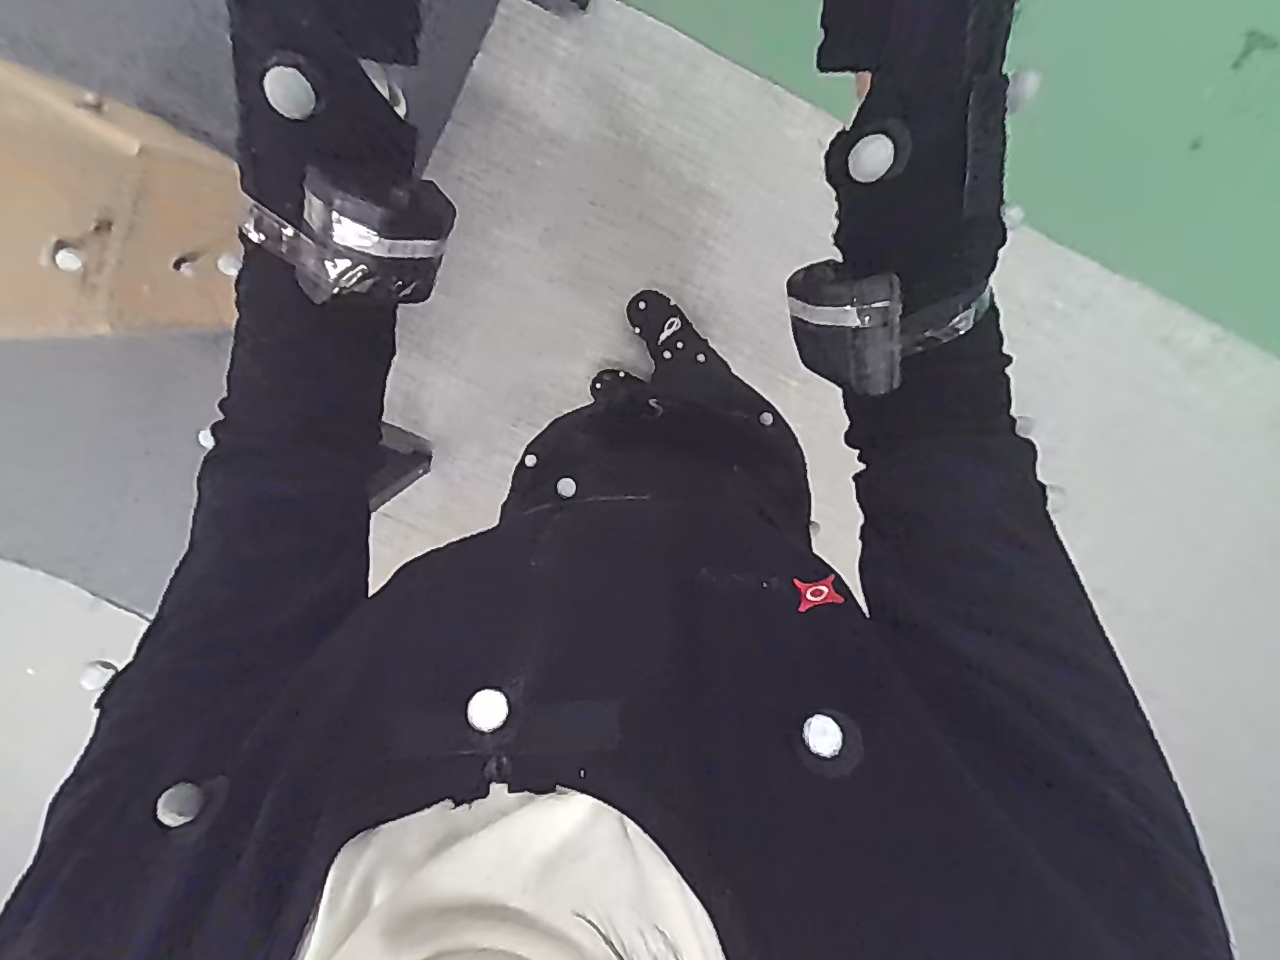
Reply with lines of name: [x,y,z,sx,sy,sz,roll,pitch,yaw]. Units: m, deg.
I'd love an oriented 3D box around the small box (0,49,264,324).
small box: [-0.519,-0.274,0.535,0.168,0.176,0.179,28,108,-6]

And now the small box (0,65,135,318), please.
small box: [-0.529,-0.224,0.378,0.179,0.176,0.168,31,107,-7]
